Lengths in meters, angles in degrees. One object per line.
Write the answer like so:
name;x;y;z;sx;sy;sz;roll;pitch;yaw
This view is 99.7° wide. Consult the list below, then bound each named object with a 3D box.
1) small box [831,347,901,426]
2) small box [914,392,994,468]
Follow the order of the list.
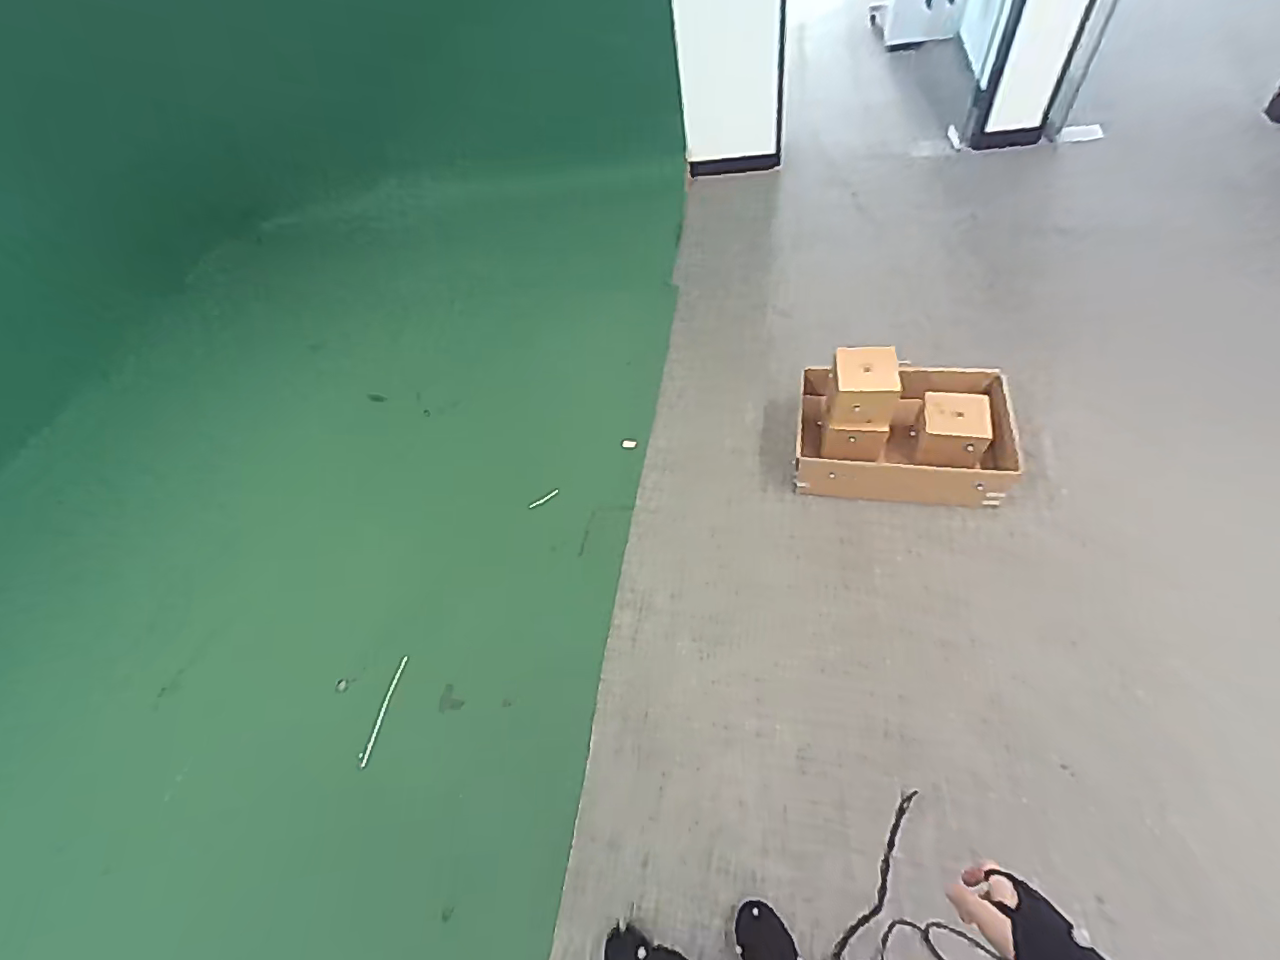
small box;0.668;-0.274;1.615;0.168;0.176;0.179;1;57;12
small box;0.962;-0.151;1.665;0.179;0.176;0.168;6;59;18
